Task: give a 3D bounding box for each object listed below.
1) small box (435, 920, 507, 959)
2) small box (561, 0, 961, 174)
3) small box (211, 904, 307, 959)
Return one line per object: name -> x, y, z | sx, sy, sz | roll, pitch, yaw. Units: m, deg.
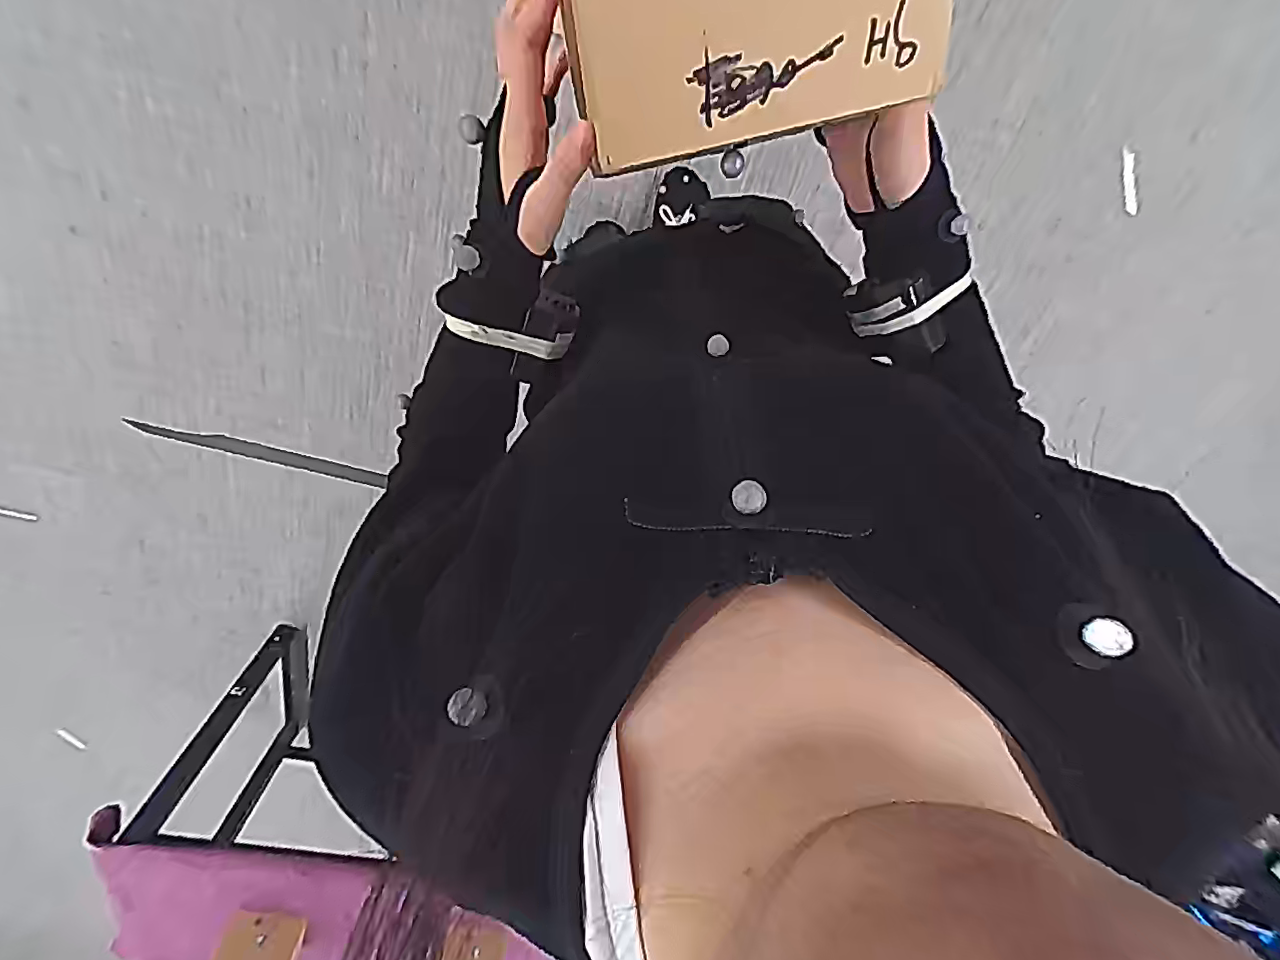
small box -> -0.451, 1.280, 1.393 | 0.168, 0.176, 0.179 | 15, 117, -10
small box -> 0.041, -0.275, 0.281 | 0.168, 0.176, 0.179 | -13, 119, 0
small box -> -0.943, 1.180, 1.319 | 0.168, 0.176, 0.179 | 19, 117, -13
